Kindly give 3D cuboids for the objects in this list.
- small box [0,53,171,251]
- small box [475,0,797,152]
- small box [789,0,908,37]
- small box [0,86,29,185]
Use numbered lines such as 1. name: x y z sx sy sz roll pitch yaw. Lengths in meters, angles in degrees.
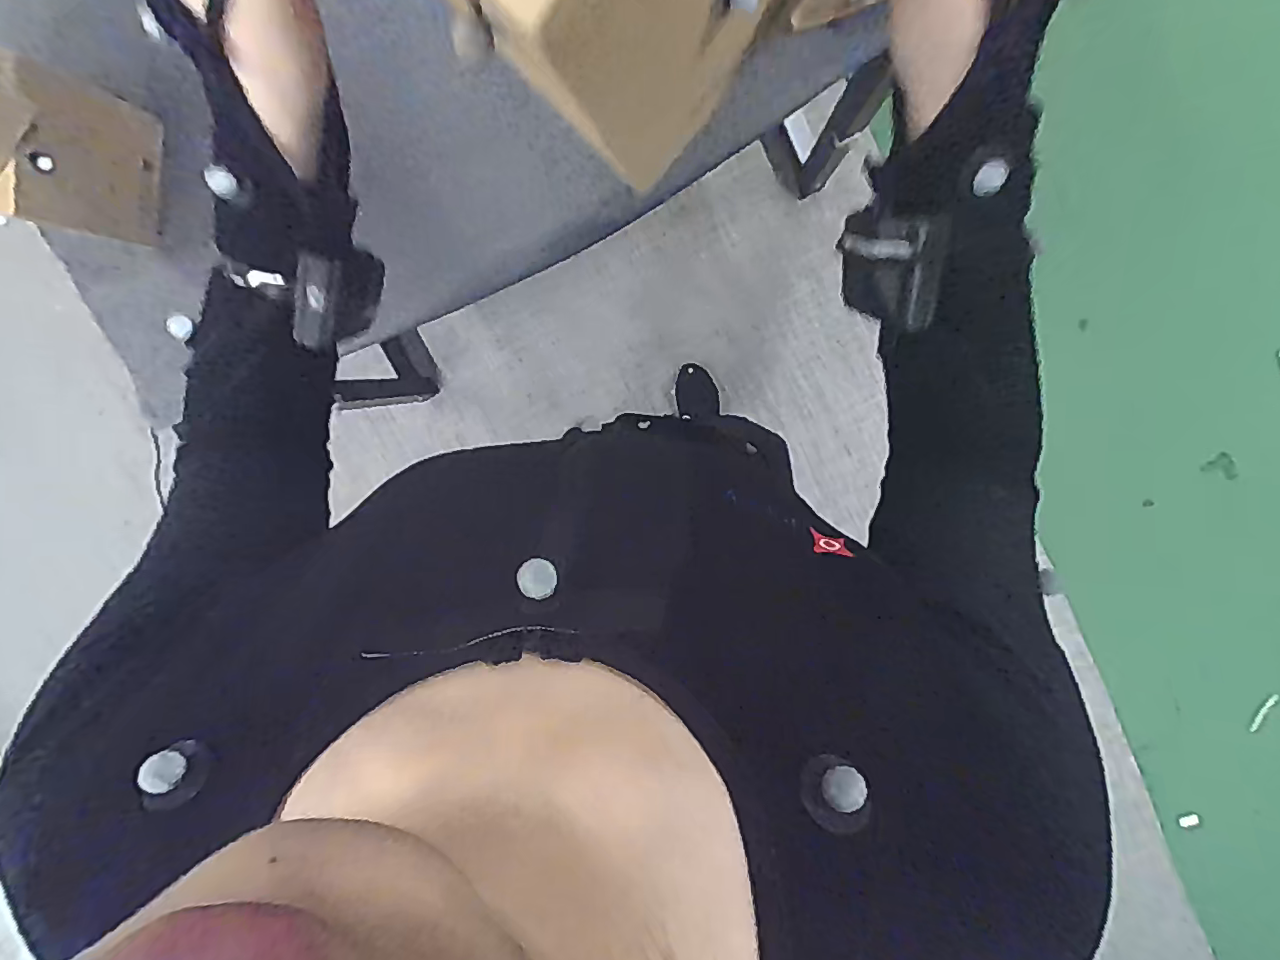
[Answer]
1. small box: -0.728 -0.391 0.651 0.179 0.176 0.168 14 102 2
2. small box: -0.013 -0.266 0.209 0.179 0.176 0.168 46 108 0
3. small box: 0.222 -0.597 0.524 0.168 0.176 0.179 -16 96 10
4. small box: -0.739 -0.356 0.490 0.179 0.176 0.168 -44 95 12
